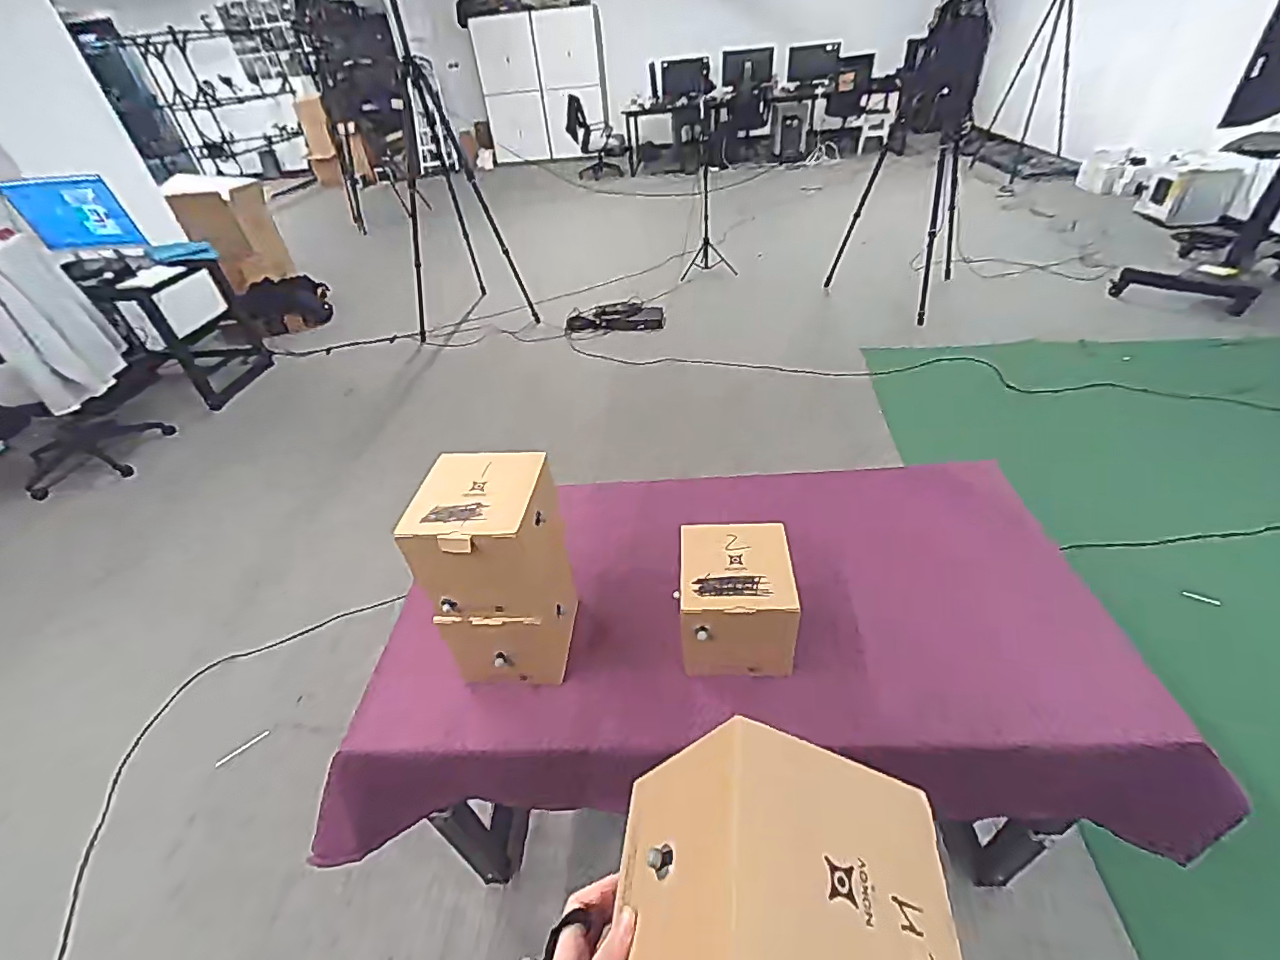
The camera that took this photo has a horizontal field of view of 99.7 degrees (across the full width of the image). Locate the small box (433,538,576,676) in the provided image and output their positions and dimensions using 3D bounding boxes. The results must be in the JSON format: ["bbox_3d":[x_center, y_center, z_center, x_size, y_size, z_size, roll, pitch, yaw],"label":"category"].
[{"bbox_3d":[-0.206,0.201,0.884,0.168,0.176,0.179,0,41,6],"label":"small box"}]

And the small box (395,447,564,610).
[{"bbox_3d":[-0.214,0.070,0.784,0.168,0.176,0.179,0,39,7],"label":"small box"}]

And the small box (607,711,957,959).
[{"bbox_3d":[0.092,0.304,0.394,0.179,0.176,0.168,27,41,-11],"label":"small box"}]
